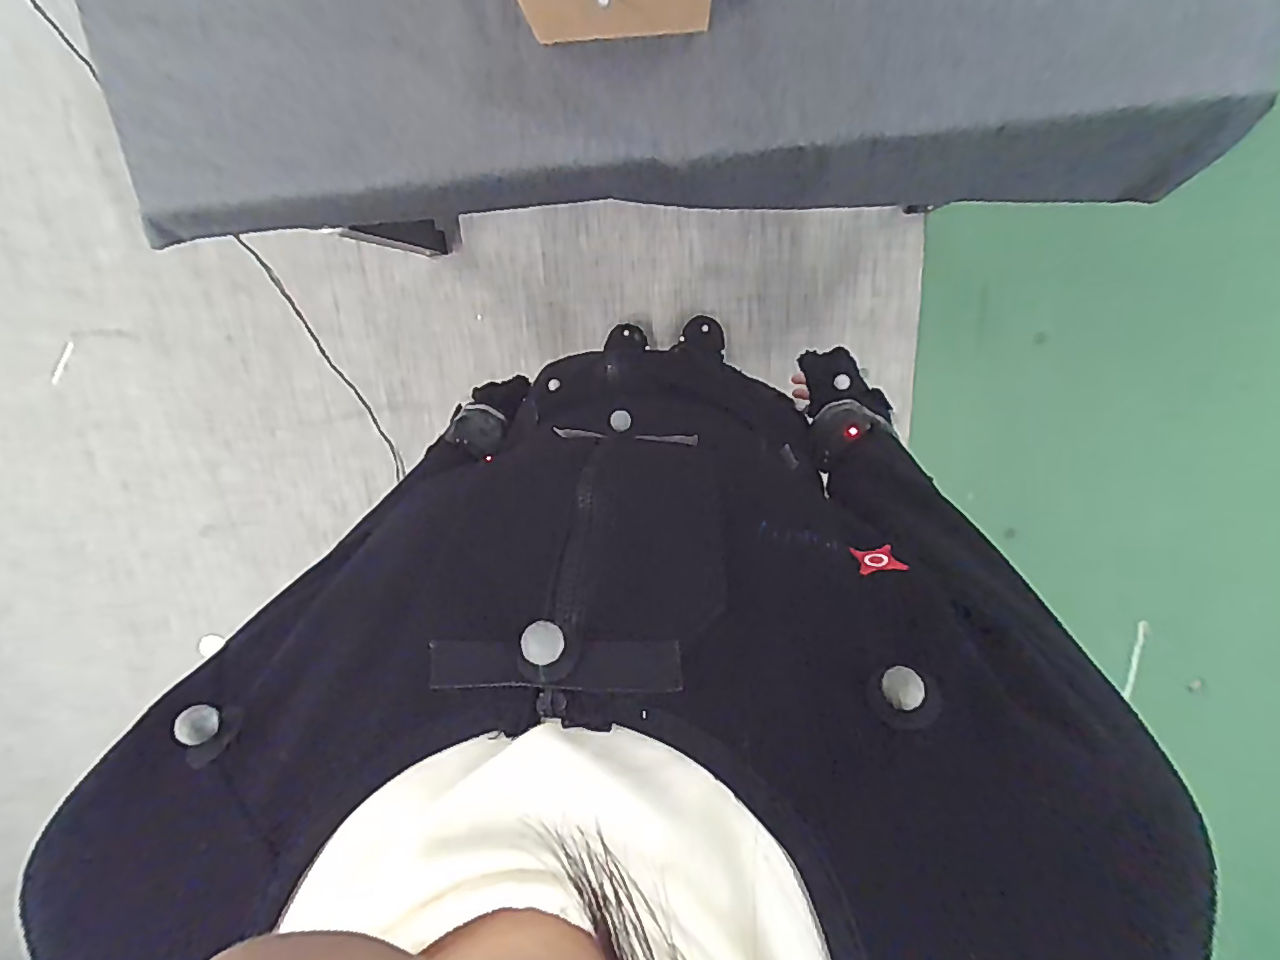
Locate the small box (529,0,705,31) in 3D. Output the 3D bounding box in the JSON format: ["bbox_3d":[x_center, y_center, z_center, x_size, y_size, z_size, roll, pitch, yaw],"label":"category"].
[{"bbox_3d":[-0.022,-0.510,0.446,0.179,0.176,0.168,-1,107,5],"label":"small box"}]
